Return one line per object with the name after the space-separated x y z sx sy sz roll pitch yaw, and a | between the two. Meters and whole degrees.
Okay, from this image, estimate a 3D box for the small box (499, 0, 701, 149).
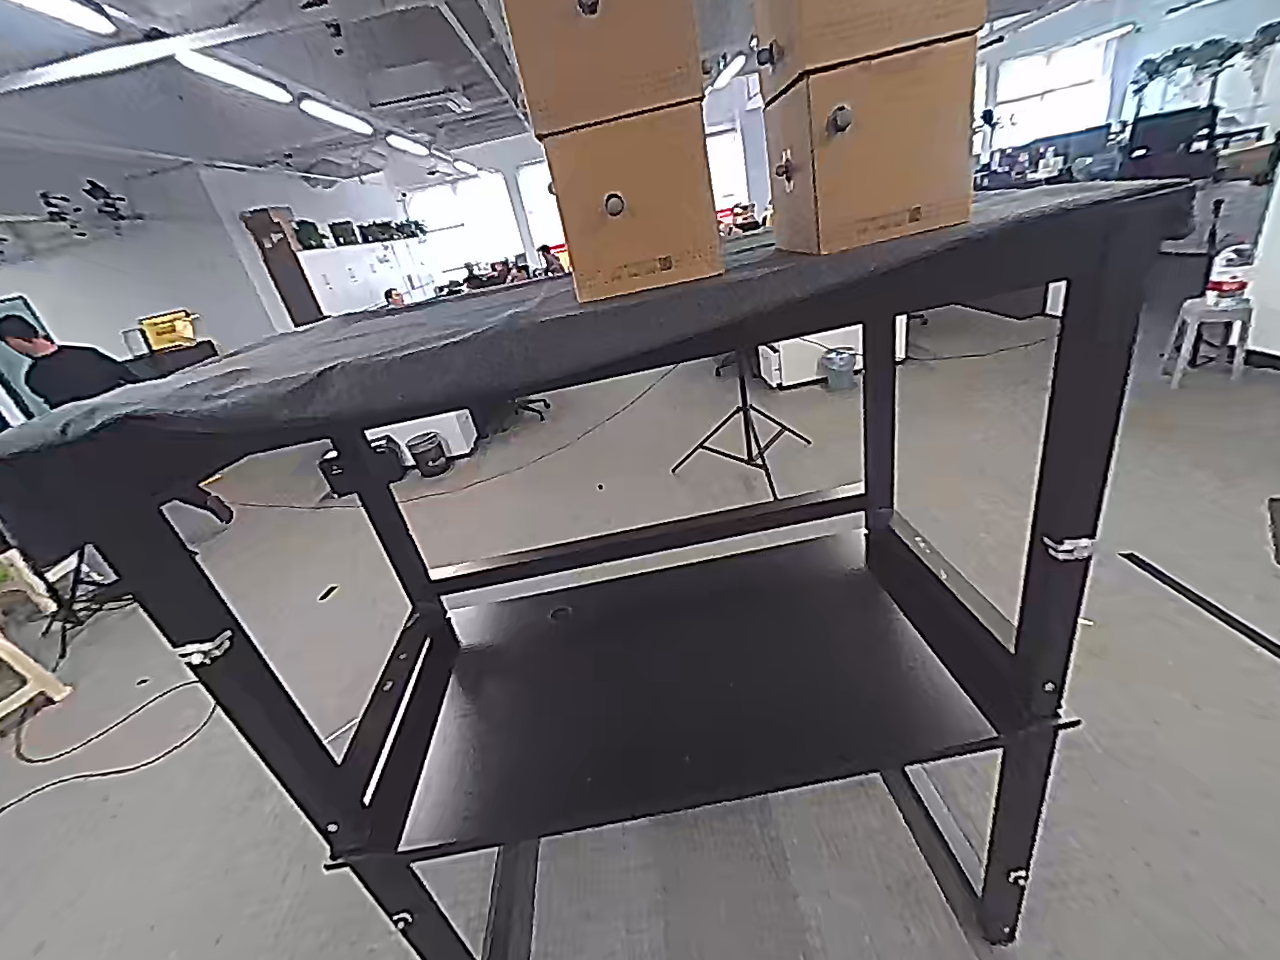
-0.036 -0.457 0.568 0.179 0.176 0.168 -12 24 5 | small box

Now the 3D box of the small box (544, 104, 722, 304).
-0.002 -0.315 0.646 0.168 0.176 0.179 -10 25 4 | small box

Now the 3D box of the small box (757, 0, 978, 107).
0.220 -0.503 0.546 0.179 0.176 0.168 -13 23 3 | small box
